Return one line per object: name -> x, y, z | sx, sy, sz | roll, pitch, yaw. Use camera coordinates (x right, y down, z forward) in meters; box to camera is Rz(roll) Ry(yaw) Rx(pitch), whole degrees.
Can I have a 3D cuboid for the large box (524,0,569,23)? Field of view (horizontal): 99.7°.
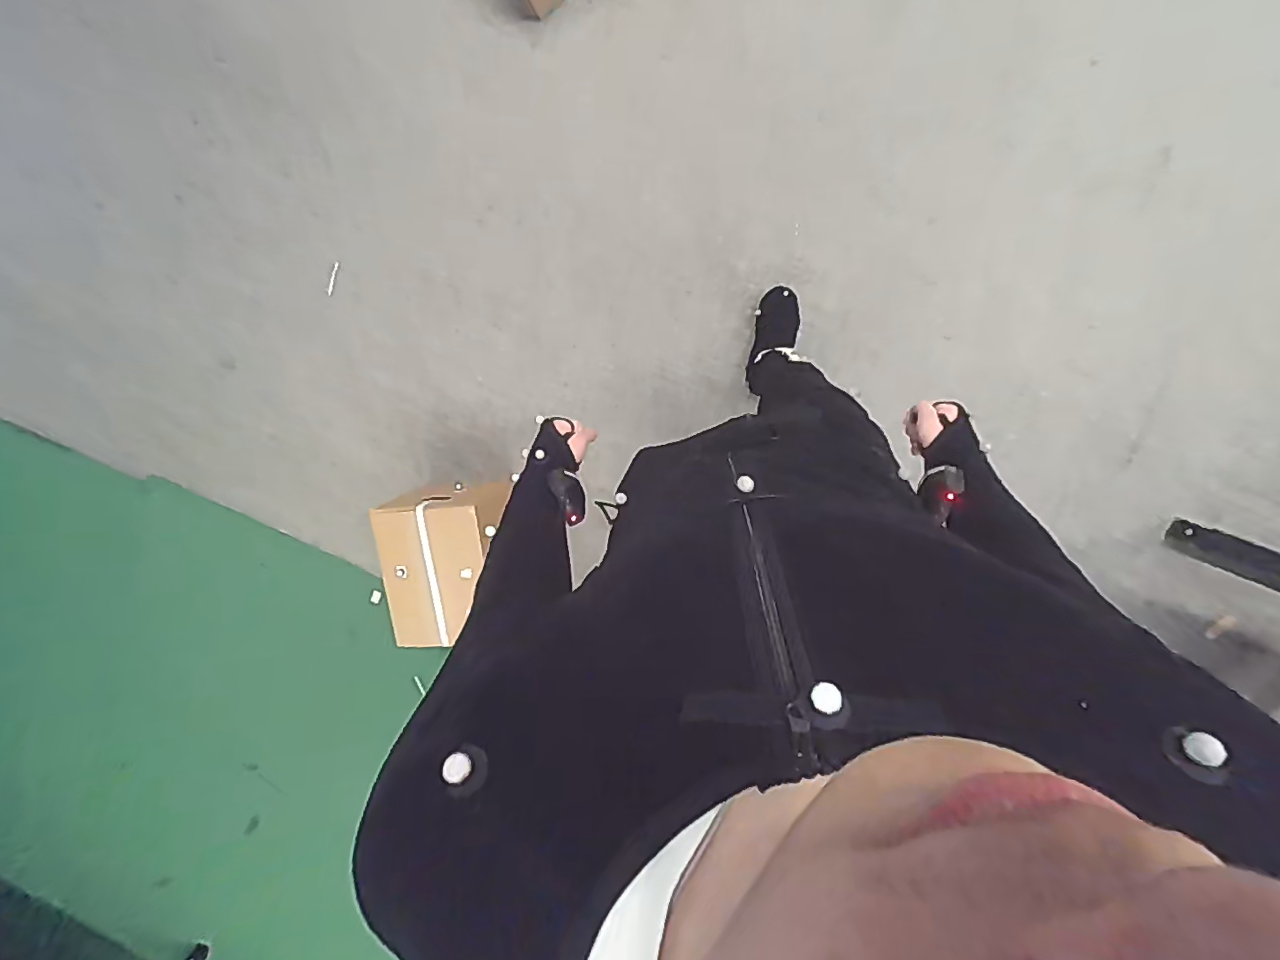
large box -> -0.206, -1.392, 1.215 | 0.408, 0.320, 0.320 | -34, 95, 14
